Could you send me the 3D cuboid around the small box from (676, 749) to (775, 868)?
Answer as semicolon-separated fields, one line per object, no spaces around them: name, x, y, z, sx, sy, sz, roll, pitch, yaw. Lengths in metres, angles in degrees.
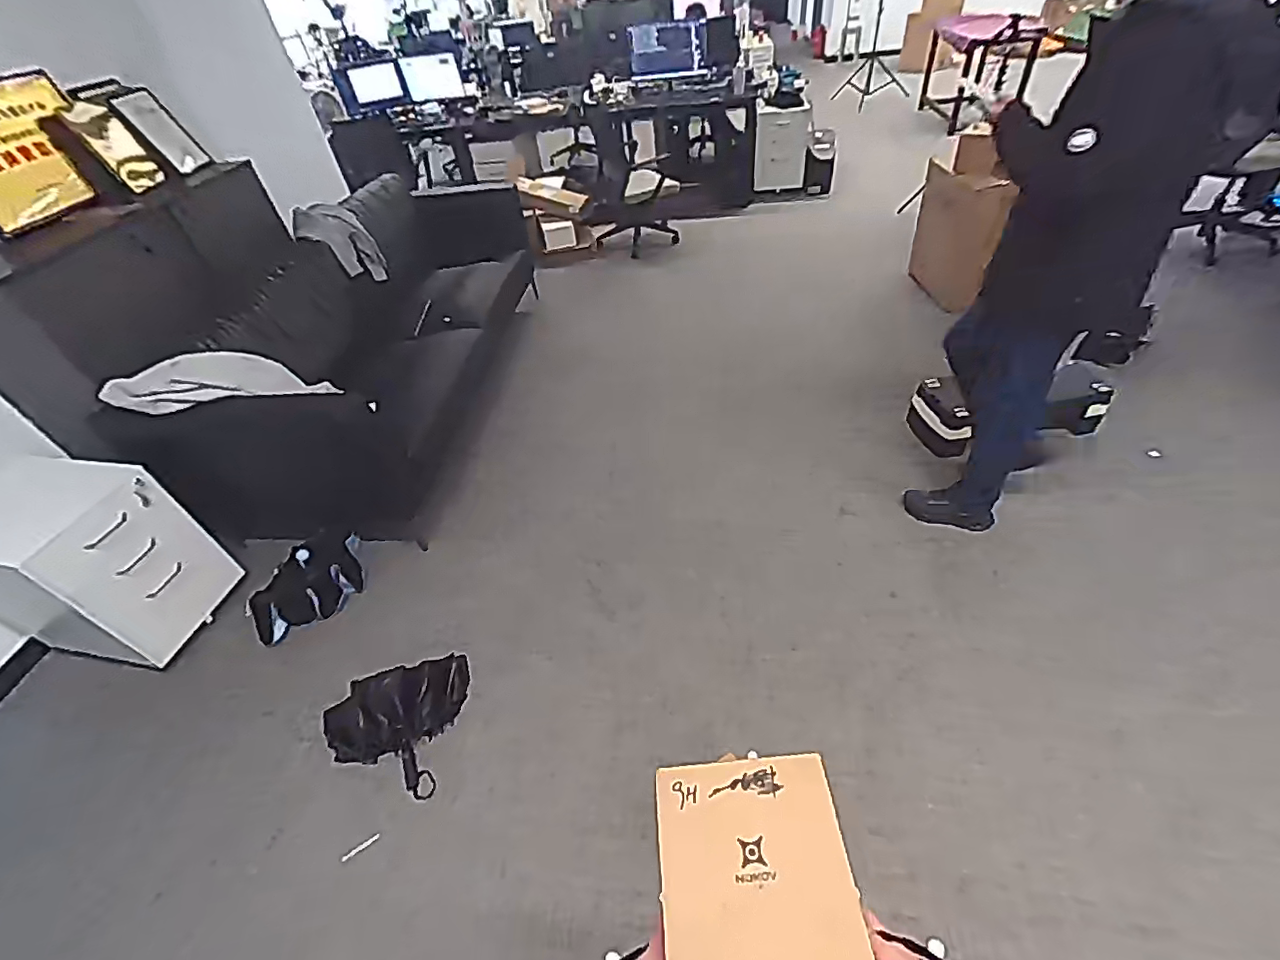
small box;0.205;0.800;1.308;0.168;0.176;0.179;-26;45;-19
